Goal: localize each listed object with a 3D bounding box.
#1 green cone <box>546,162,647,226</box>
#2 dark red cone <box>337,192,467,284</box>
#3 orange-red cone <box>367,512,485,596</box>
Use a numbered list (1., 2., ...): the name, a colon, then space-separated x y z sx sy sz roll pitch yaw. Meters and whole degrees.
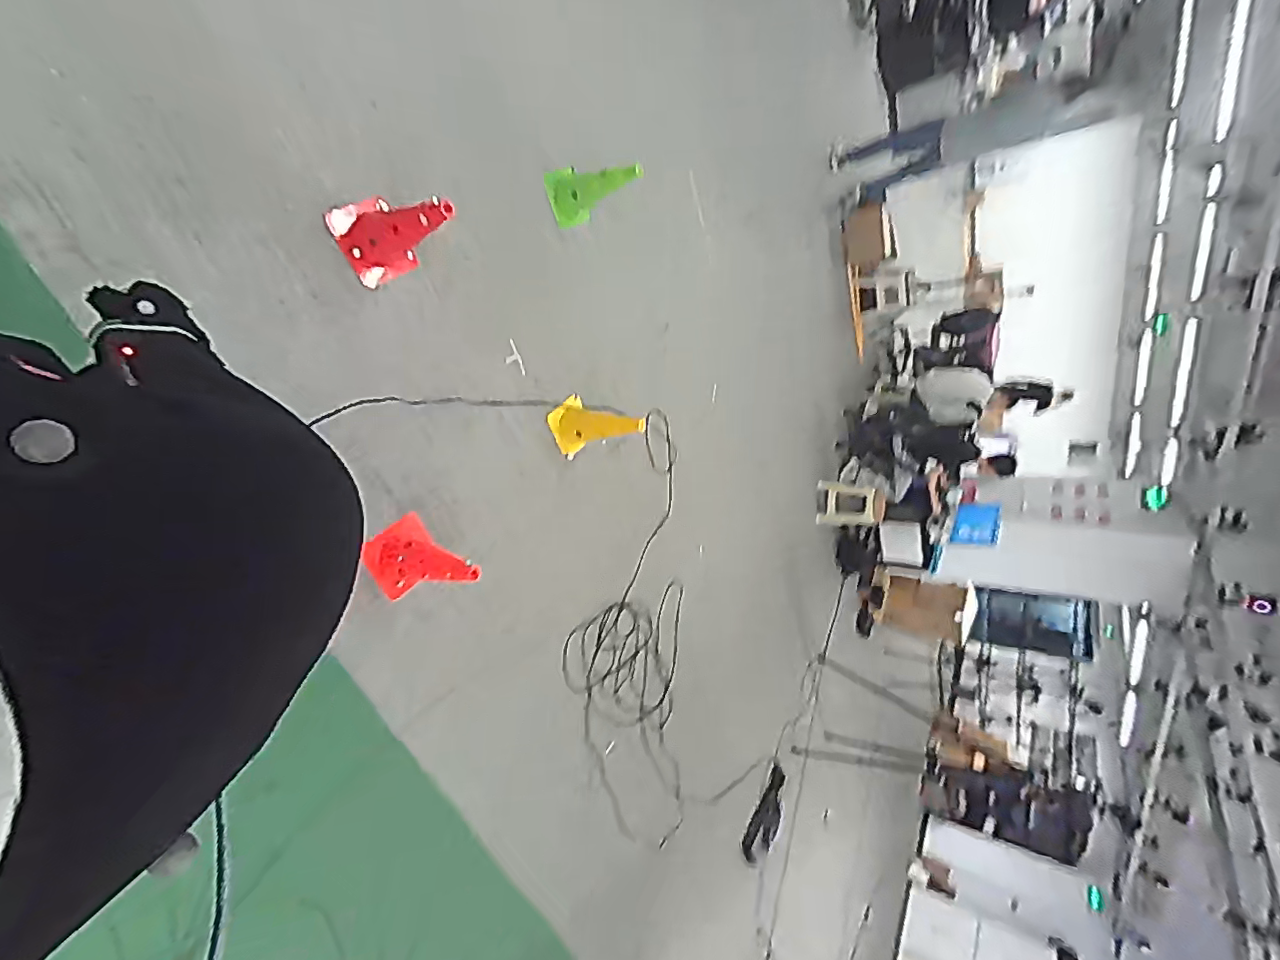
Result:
1. green cone: -0.133 -1.085 1.969 0.200 0.368 0.202 -46 128 -40
2. dark red cone: -0.575 -0.657 1.386 0.201 0.394 0.202 -50 129 -36
3. orange-red cone: -0.557 0.227 1.510 0.199 0.360 0.198 -46 127 -42
